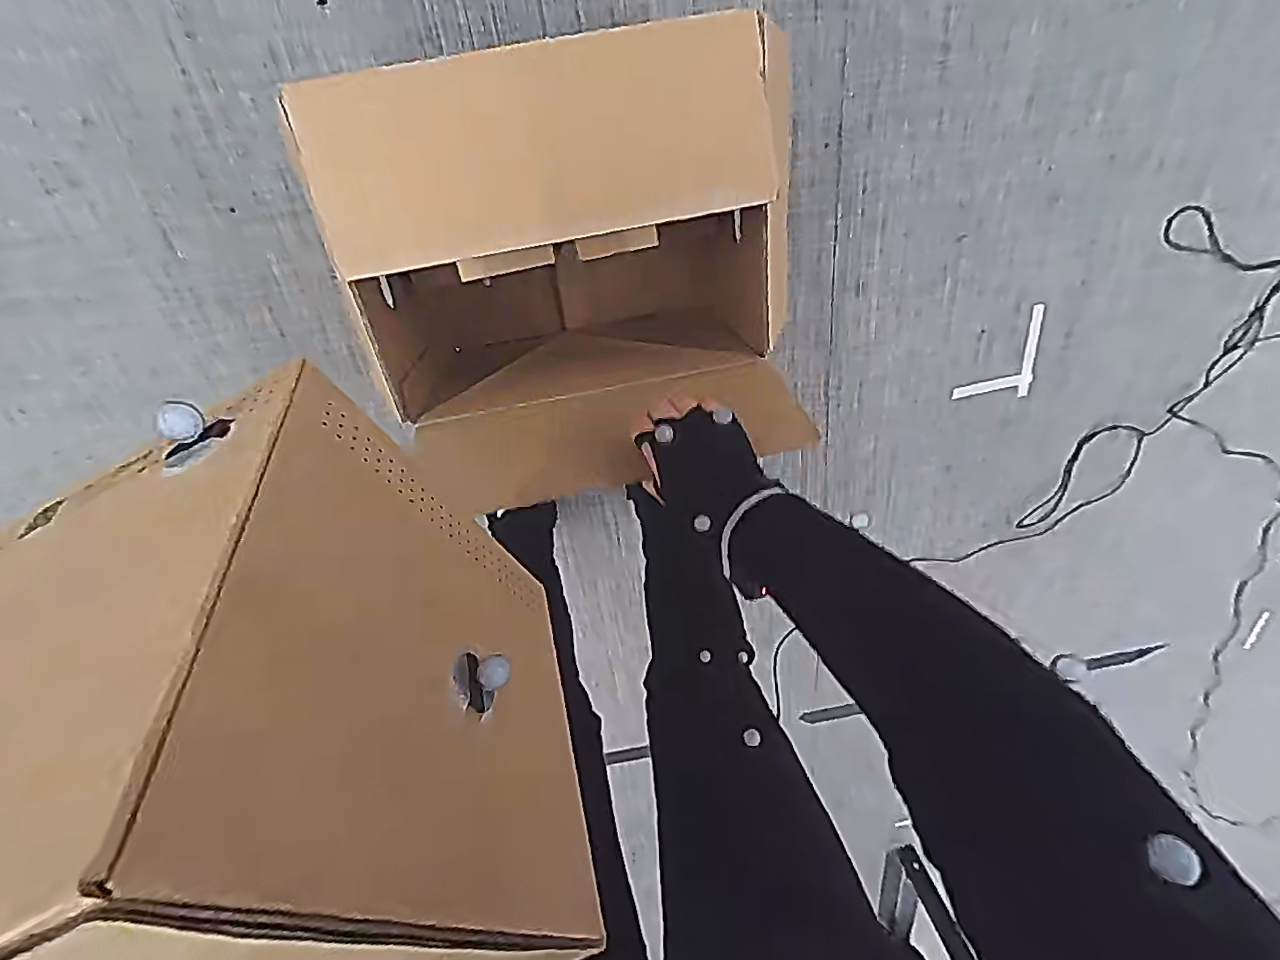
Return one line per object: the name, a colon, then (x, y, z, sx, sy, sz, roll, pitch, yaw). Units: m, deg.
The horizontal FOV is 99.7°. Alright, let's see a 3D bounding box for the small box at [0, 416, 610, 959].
small box: (-0.135, 0.099, 0.208, 0.168, 0.176, 0.179, -27, 133, 5)
